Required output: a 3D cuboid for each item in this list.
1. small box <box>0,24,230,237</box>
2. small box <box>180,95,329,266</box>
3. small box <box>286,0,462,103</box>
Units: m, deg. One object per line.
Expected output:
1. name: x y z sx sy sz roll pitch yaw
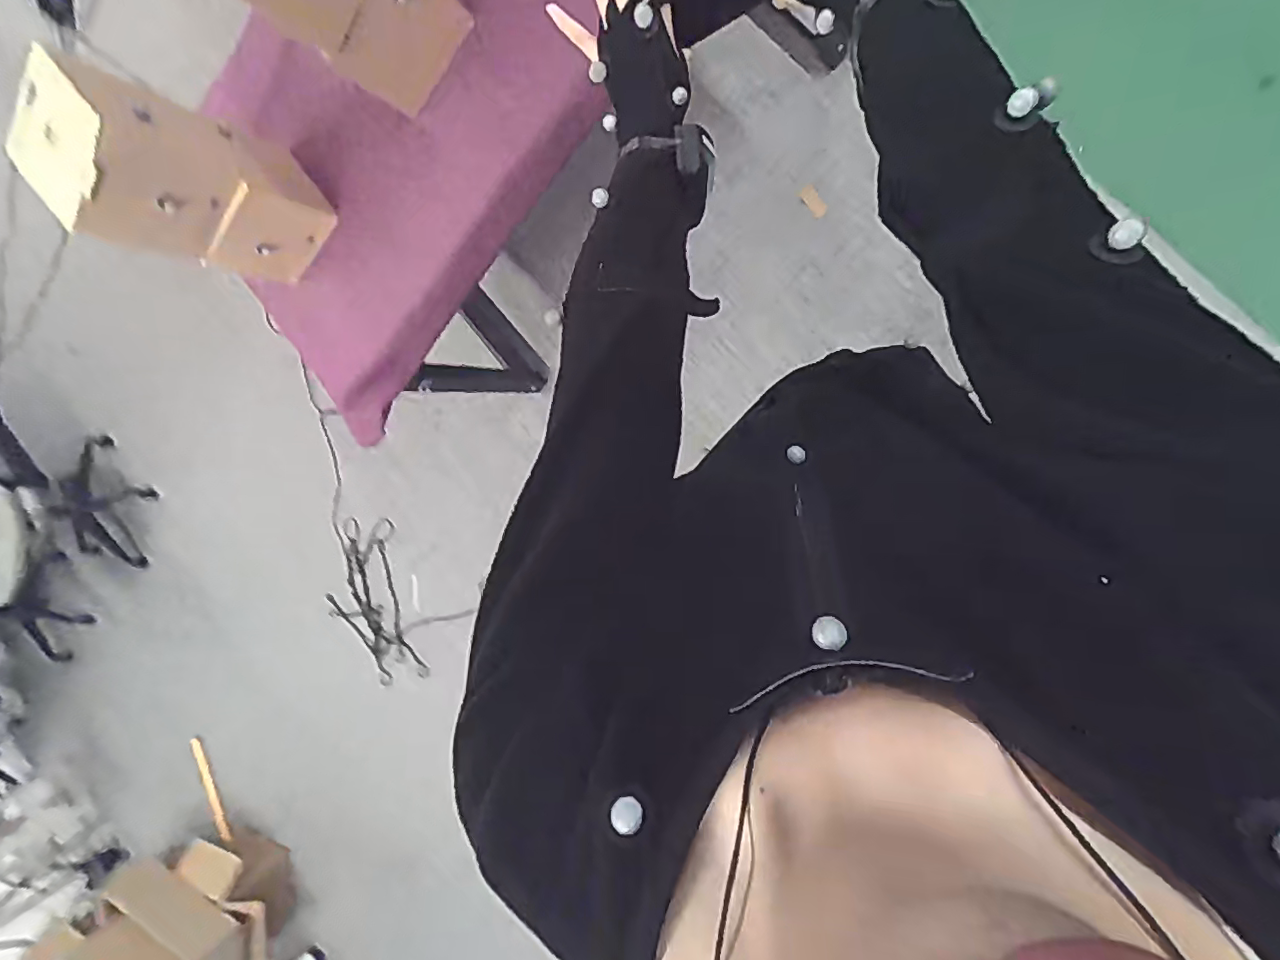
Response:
1. small box: -0.744 -0.478 0.777 0.168 0.176 0.179 -45 82 20
2. small box: -0.681 -0.494 0.928 0.168 0.176 0.179 -39 83 21
3. small box: -0.389 -0.711 0.785 0.179 0.176 0.168 -40 83 21
